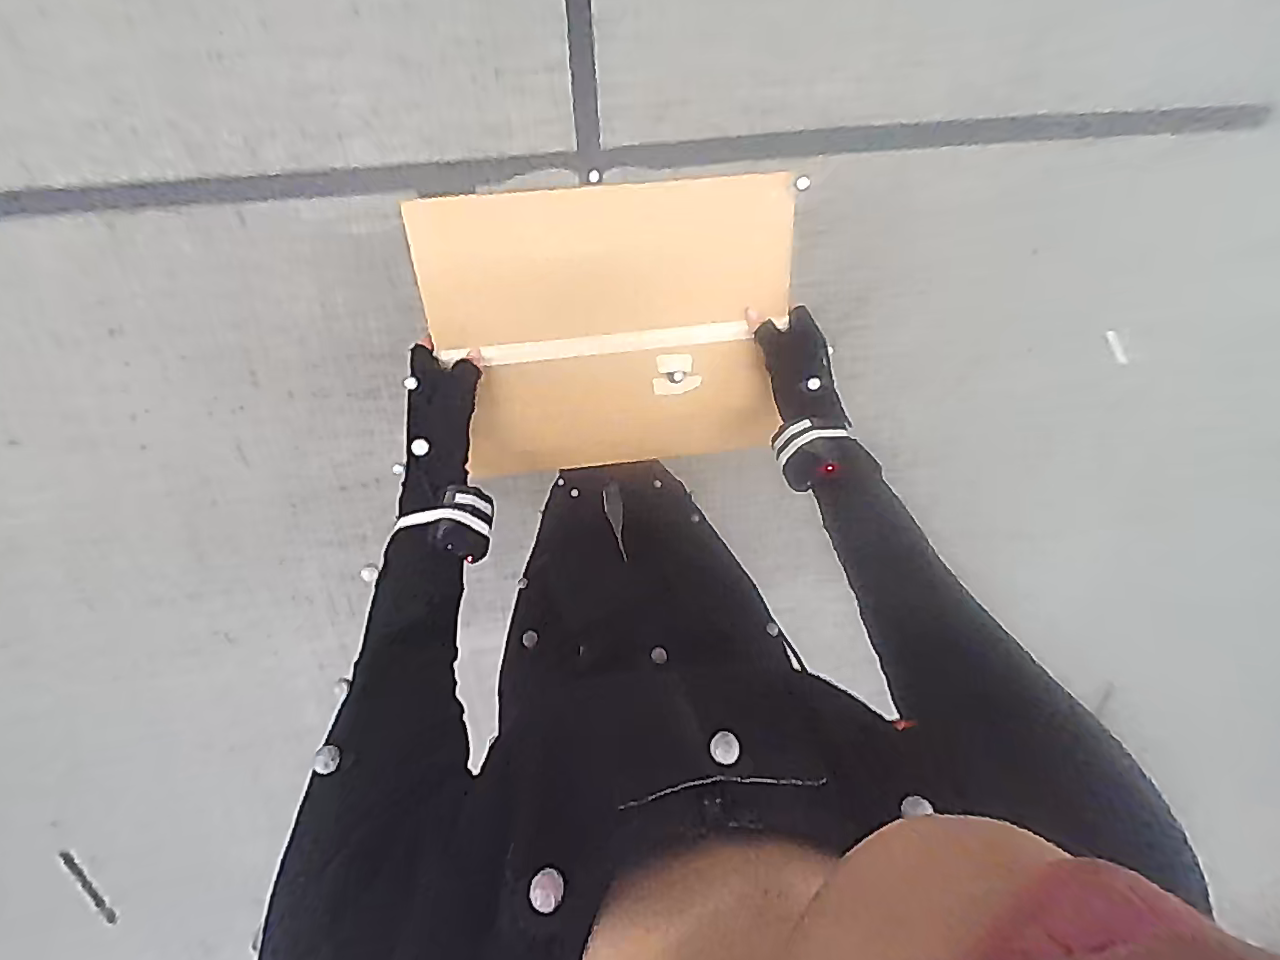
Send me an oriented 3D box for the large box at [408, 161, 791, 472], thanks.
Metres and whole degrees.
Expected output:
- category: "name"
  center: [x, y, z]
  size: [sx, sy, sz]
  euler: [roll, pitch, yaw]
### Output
- category: "large box"
  center: [-0.045, -0.238, 0.750]
  size: [0.408, 0.320, 0.320]
  euler: [-8, 119, -5]
